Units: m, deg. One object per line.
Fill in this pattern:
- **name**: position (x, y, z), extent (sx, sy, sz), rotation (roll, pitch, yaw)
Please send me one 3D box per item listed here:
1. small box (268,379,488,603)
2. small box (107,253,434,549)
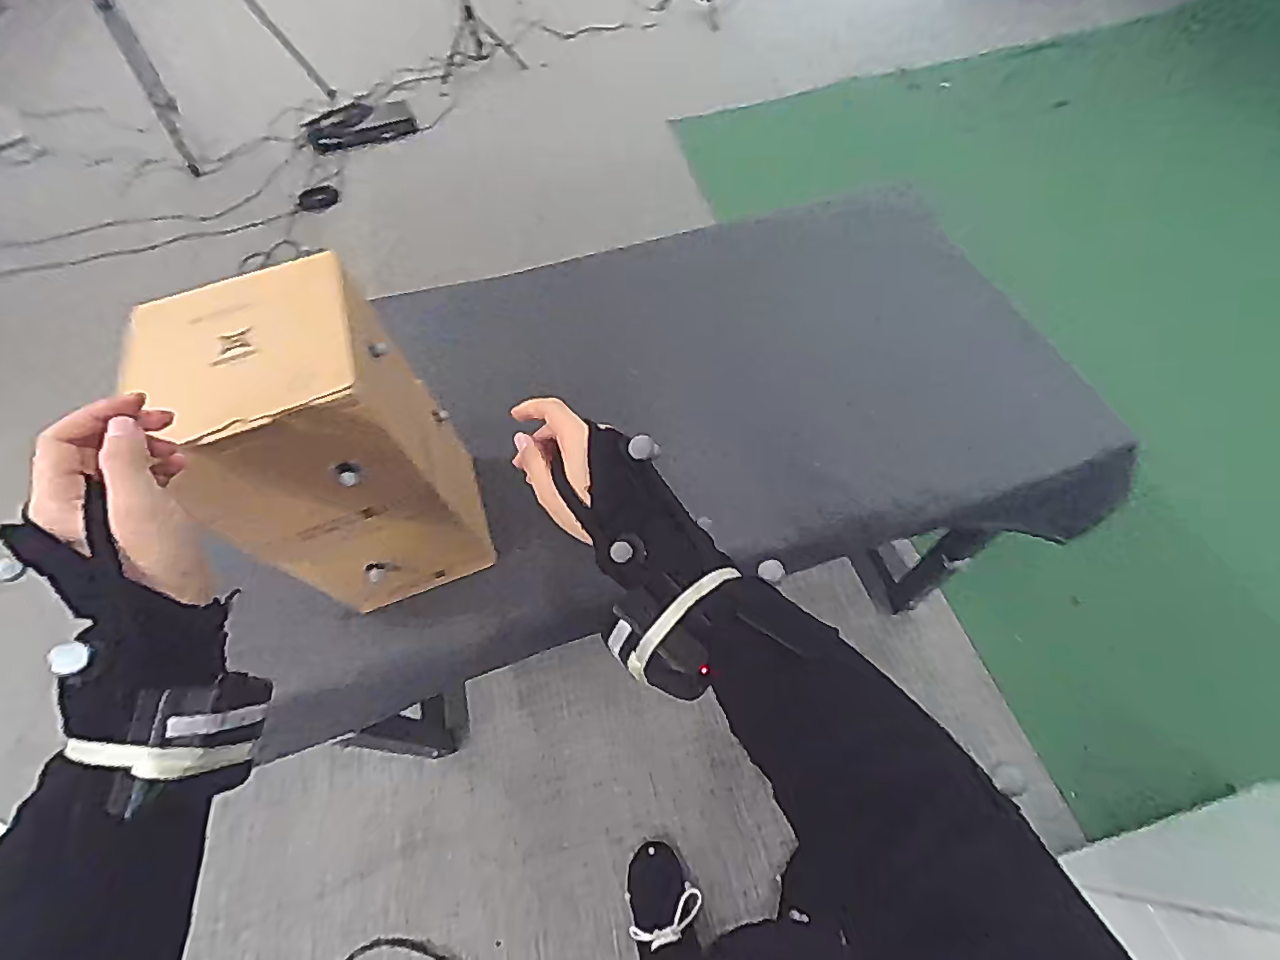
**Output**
- **small box**: position (-0.289, 0.023, 0.617), extent (0.168, 0.176, 0.179), rotation (-20, 59, -8)
- **small box**: position (-0.301, -0.059, 0.476), extent (0.168, 0.176, 0.179), rotation (-20, 58, -9)
